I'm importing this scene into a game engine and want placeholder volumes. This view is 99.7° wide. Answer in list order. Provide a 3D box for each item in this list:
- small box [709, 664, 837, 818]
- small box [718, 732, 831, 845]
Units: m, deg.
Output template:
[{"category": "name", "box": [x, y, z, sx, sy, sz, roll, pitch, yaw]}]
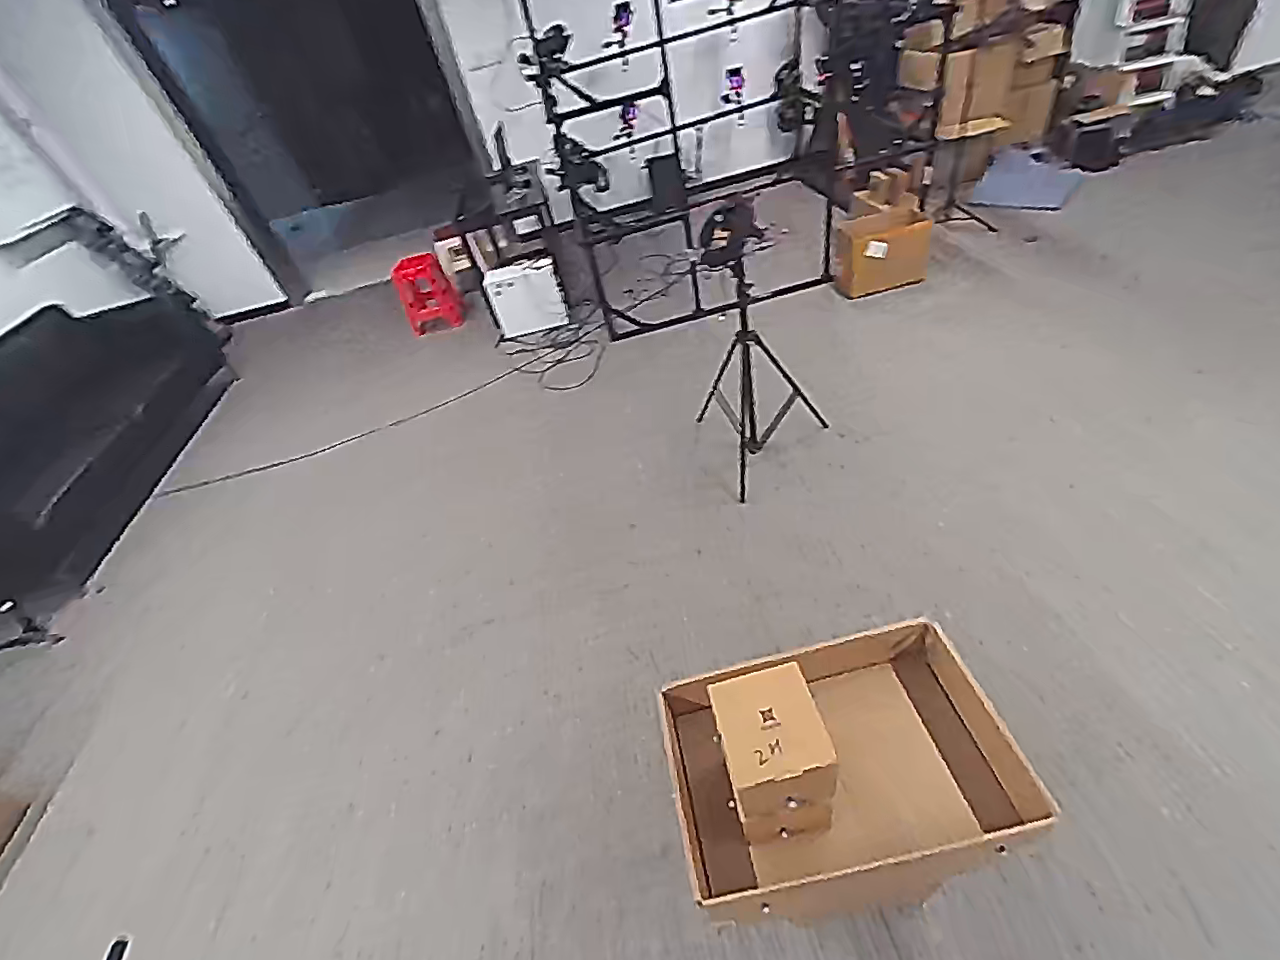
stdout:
[{"category": "small box", "box": [0.228, 0.459, 0.951, 0.168, 0.176, 0.179, -16, 43, 1]}, {"category": "small box", "box": [0.258, 0.579, 1.059, 0.168, 0.176, 0.179, -15, 43, 1]}]
